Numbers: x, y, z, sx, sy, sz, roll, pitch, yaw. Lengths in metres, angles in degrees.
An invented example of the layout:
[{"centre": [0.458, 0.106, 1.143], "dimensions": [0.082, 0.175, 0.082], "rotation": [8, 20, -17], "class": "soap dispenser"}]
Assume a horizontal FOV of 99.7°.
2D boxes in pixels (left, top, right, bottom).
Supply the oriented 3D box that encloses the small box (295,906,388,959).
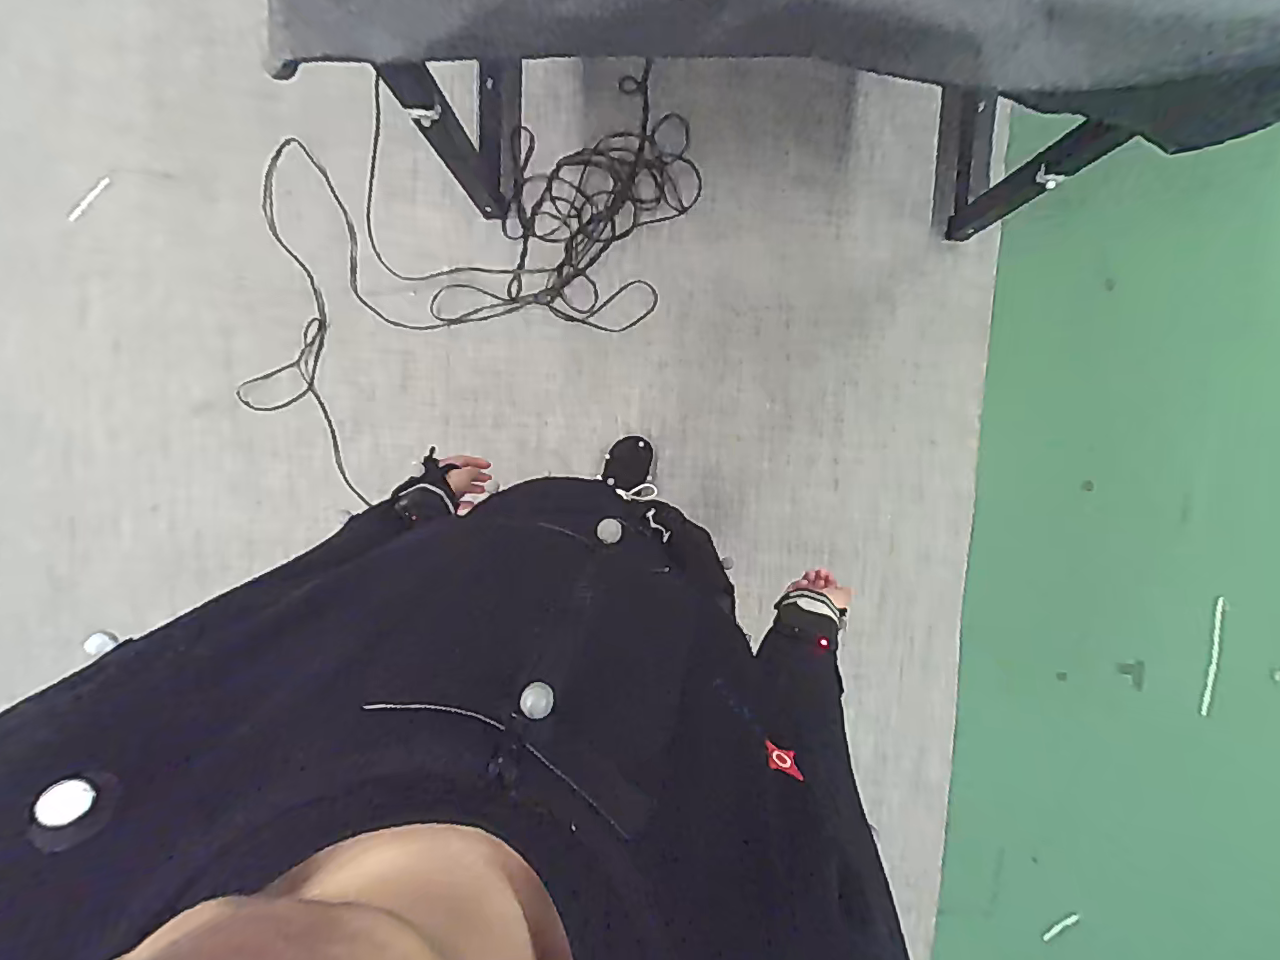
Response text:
[{"centre": [-0.758, 1.229, 1.366], "dimensions": [0.168, 0.176, 0.179], "rotation": [7, 95, 0], "class": "small box"}]
